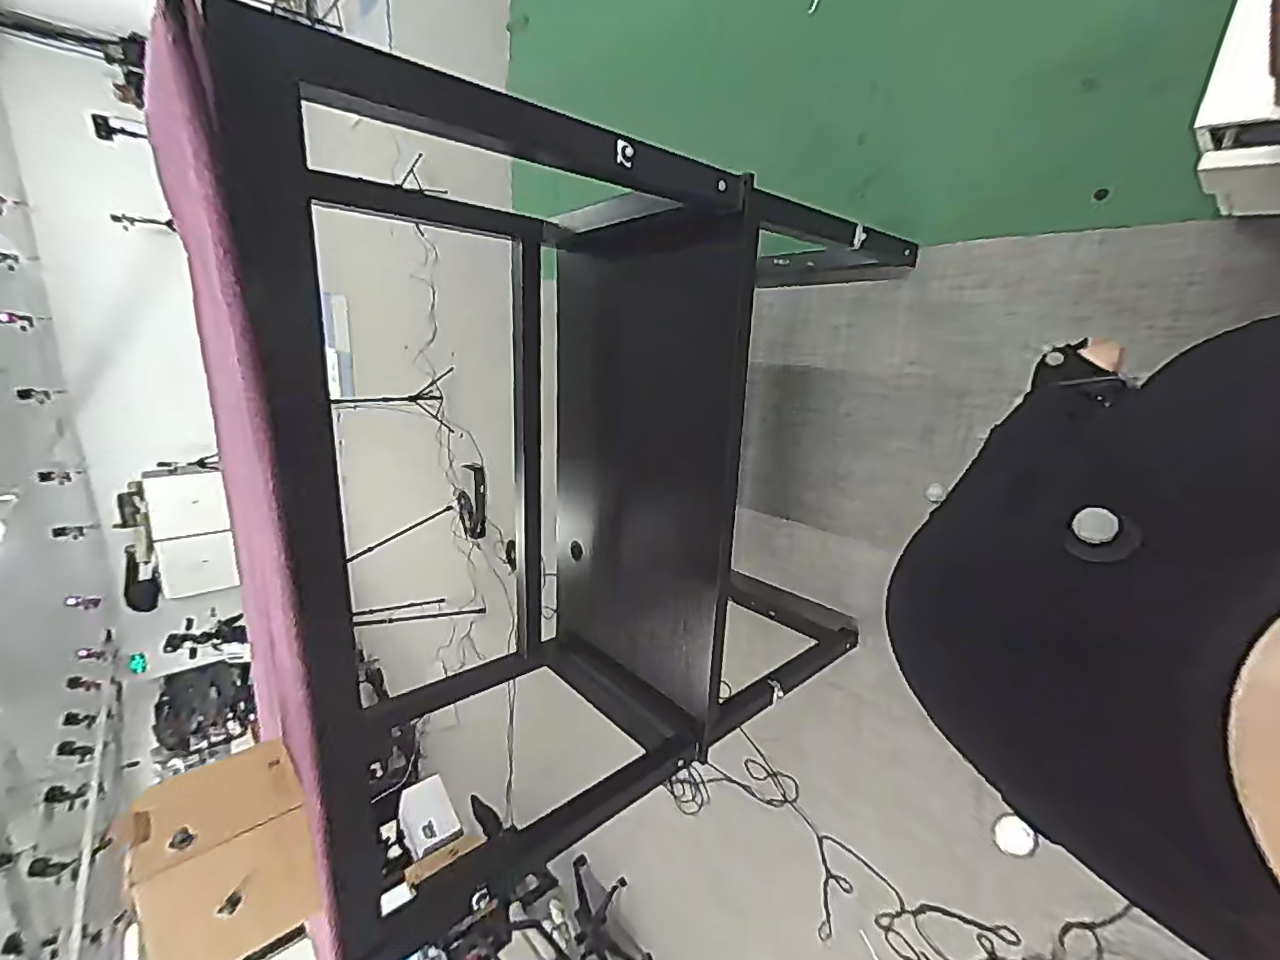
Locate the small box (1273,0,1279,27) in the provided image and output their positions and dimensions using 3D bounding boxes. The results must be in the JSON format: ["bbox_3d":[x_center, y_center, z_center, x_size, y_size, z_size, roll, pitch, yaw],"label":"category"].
[{"bbox_3d":[0.552,-0.407,0.337,0.168,0.176,0.179,22,114,44],"label":"small box"}]
